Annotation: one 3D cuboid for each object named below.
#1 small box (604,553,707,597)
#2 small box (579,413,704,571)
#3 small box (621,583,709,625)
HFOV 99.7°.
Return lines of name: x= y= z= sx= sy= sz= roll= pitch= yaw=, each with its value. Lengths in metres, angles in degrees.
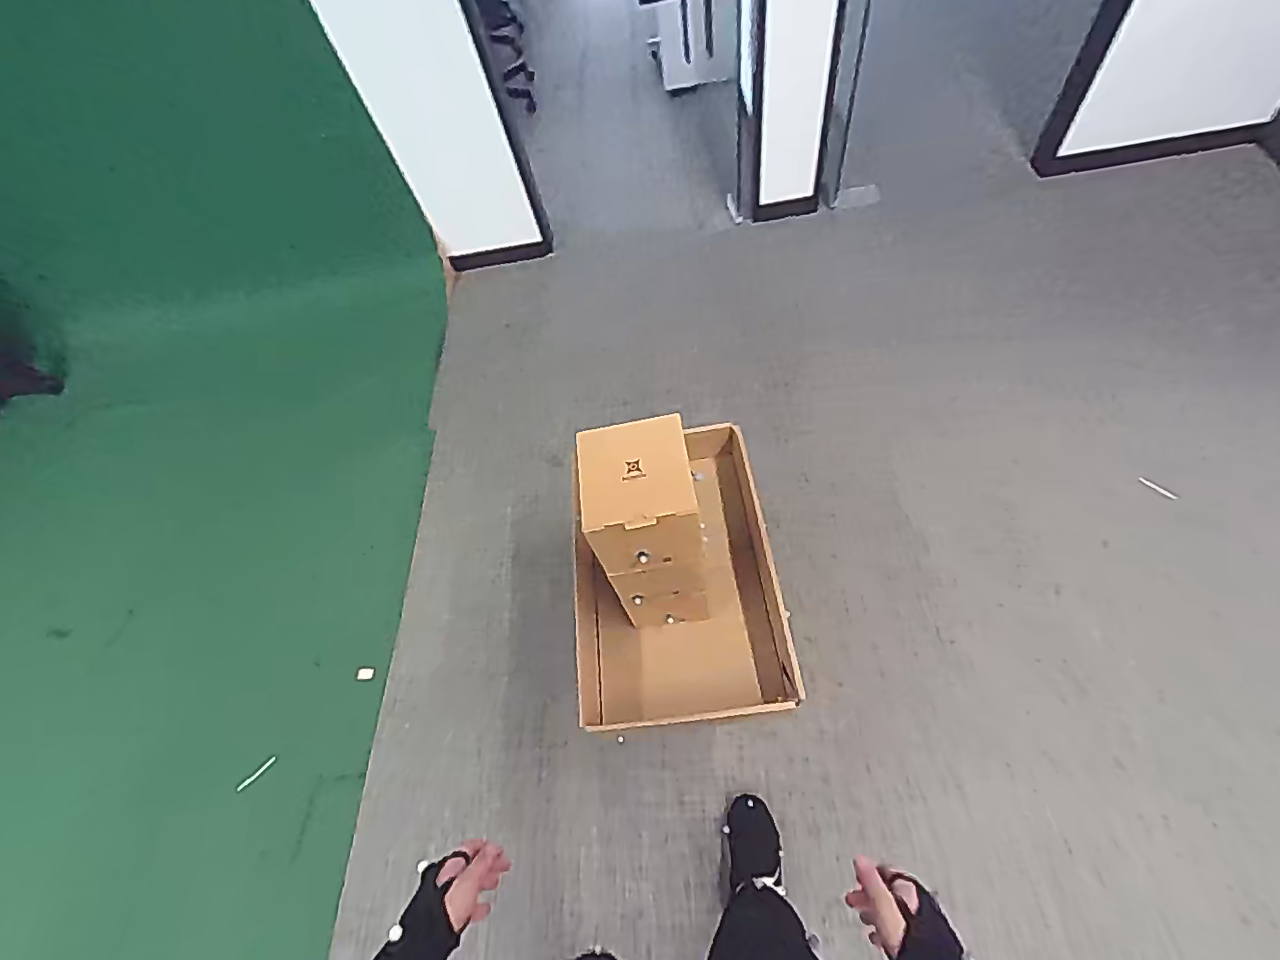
small box: x=0.026 y=0.103 z=0.991 sx=0.168 sy=0.176 sz=0.179 roll=-10 pitch=57 yaw=4
small box: x=0.005 y=0.023 z=0.851 sx=0.168 sy=0.176 sz=0.179 roll=-10 pitch=59 yaw=3
small box: x=0.051 y=0.187 z=1.129 sx=0.168 sy=0.176 sz=0.179 roll=-9 pitch=58 yaw=5
